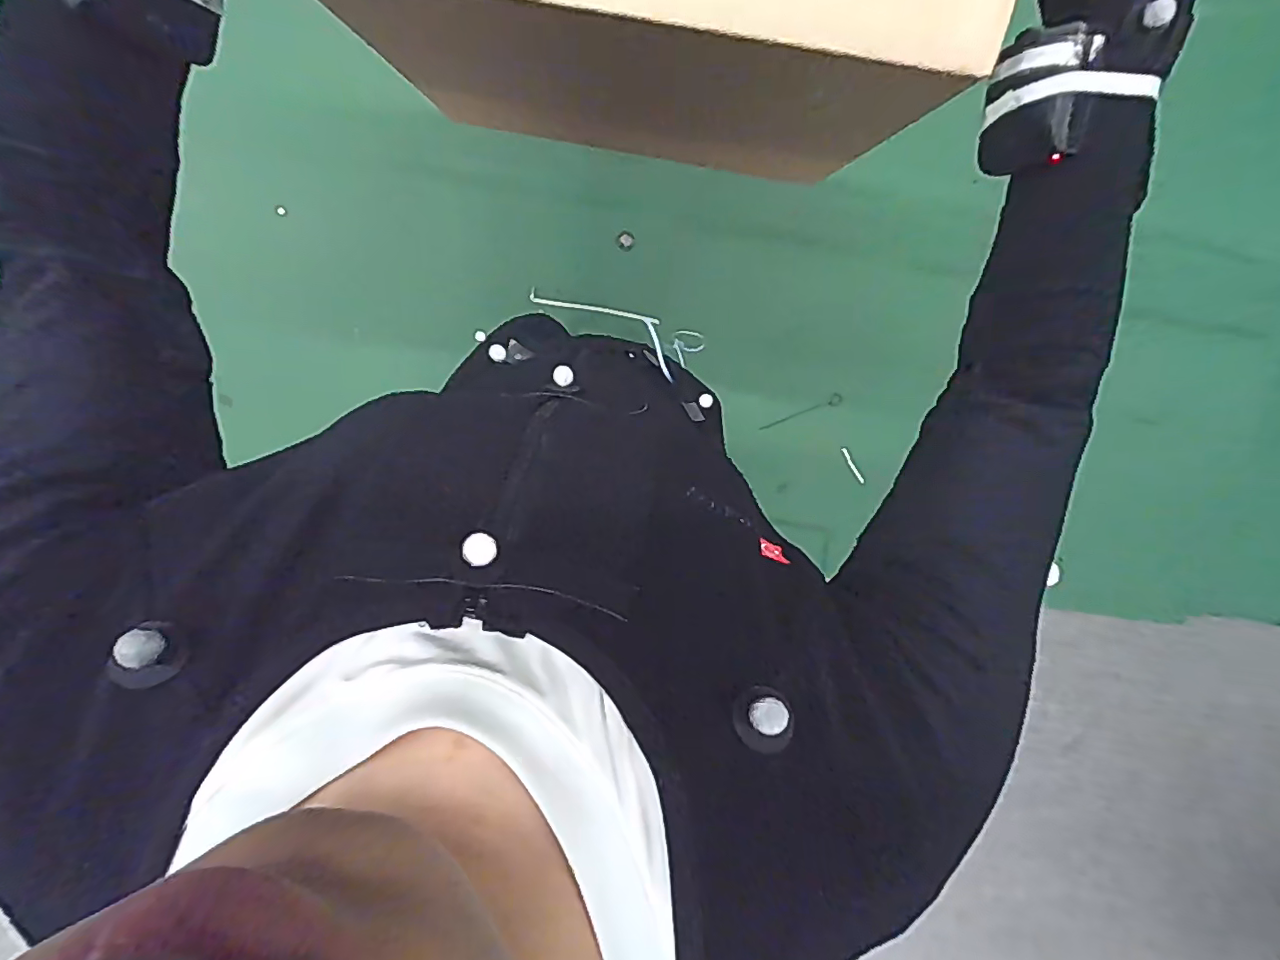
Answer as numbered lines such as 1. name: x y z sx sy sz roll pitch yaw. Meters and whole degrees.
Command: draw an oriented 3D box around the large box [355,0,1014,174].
1. large box: 0.025 -0.453 0.394 0.408 0.320 0.320 8 109 -4
